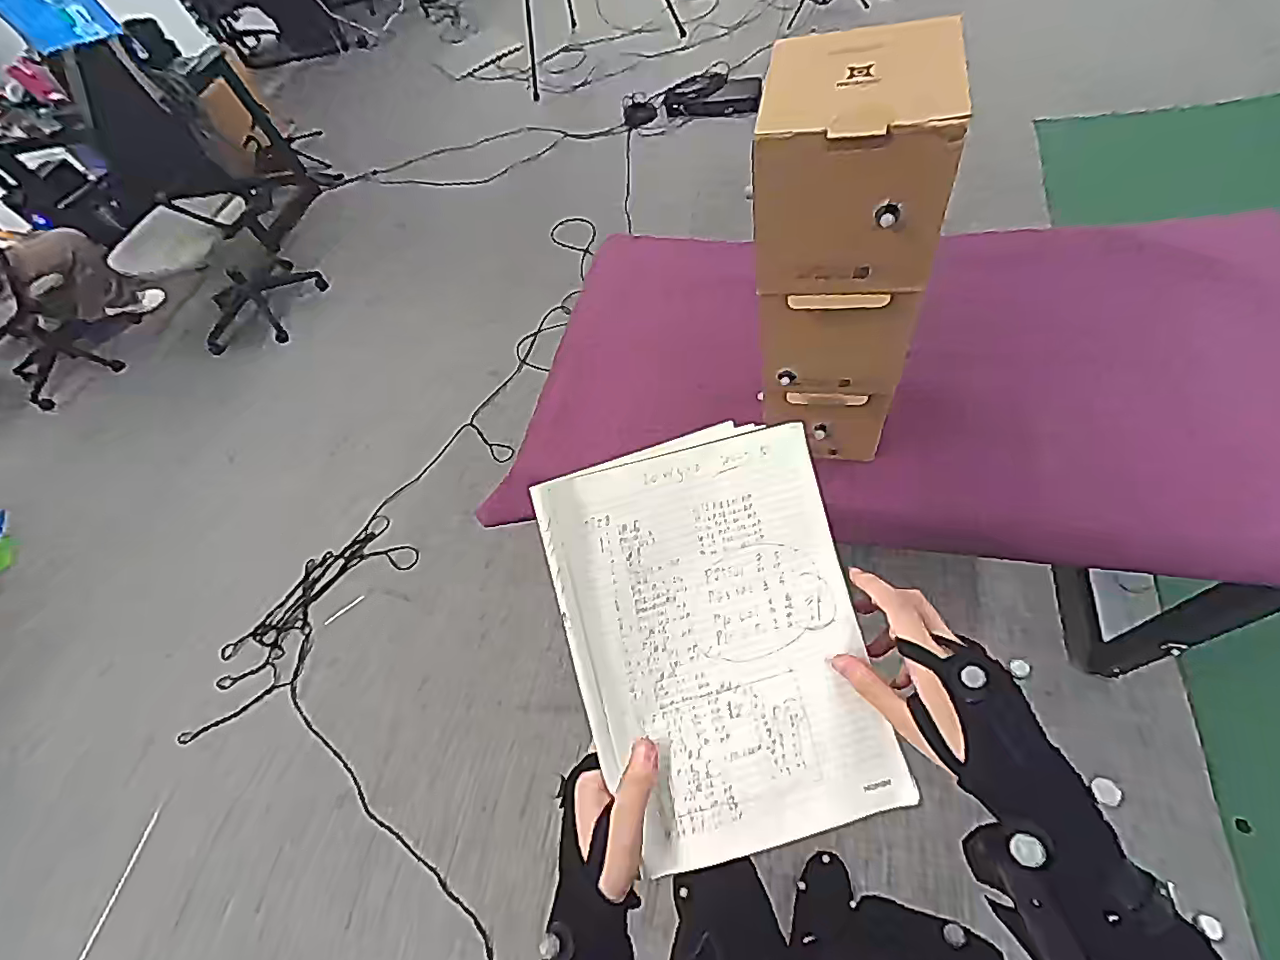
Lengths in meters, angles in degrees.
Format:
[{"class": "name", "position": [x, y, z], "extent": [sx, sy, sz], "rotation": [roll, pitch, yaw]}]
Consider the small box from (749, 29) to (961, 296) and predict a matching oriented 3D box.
[{"class": "small box", "position": [0.208, -0.304, 0.543], "extent": [0.168, 0.176, 0.179], "rotation": [6, 60, 17]}]

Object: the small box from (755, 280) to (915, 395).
[{"class": "small box", "position": [0.242, -0.224, 0.681], "extent": [0.168, 0.176, 0.179], "rotation": [5, 59, 17]}]

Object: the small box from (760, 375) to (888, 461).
[{"class": "small box", "position": [0.278, -0.145, 0.822], "extent": [0.168, 0.176, 0.179], "rotation": [5, 61, 17]}]
